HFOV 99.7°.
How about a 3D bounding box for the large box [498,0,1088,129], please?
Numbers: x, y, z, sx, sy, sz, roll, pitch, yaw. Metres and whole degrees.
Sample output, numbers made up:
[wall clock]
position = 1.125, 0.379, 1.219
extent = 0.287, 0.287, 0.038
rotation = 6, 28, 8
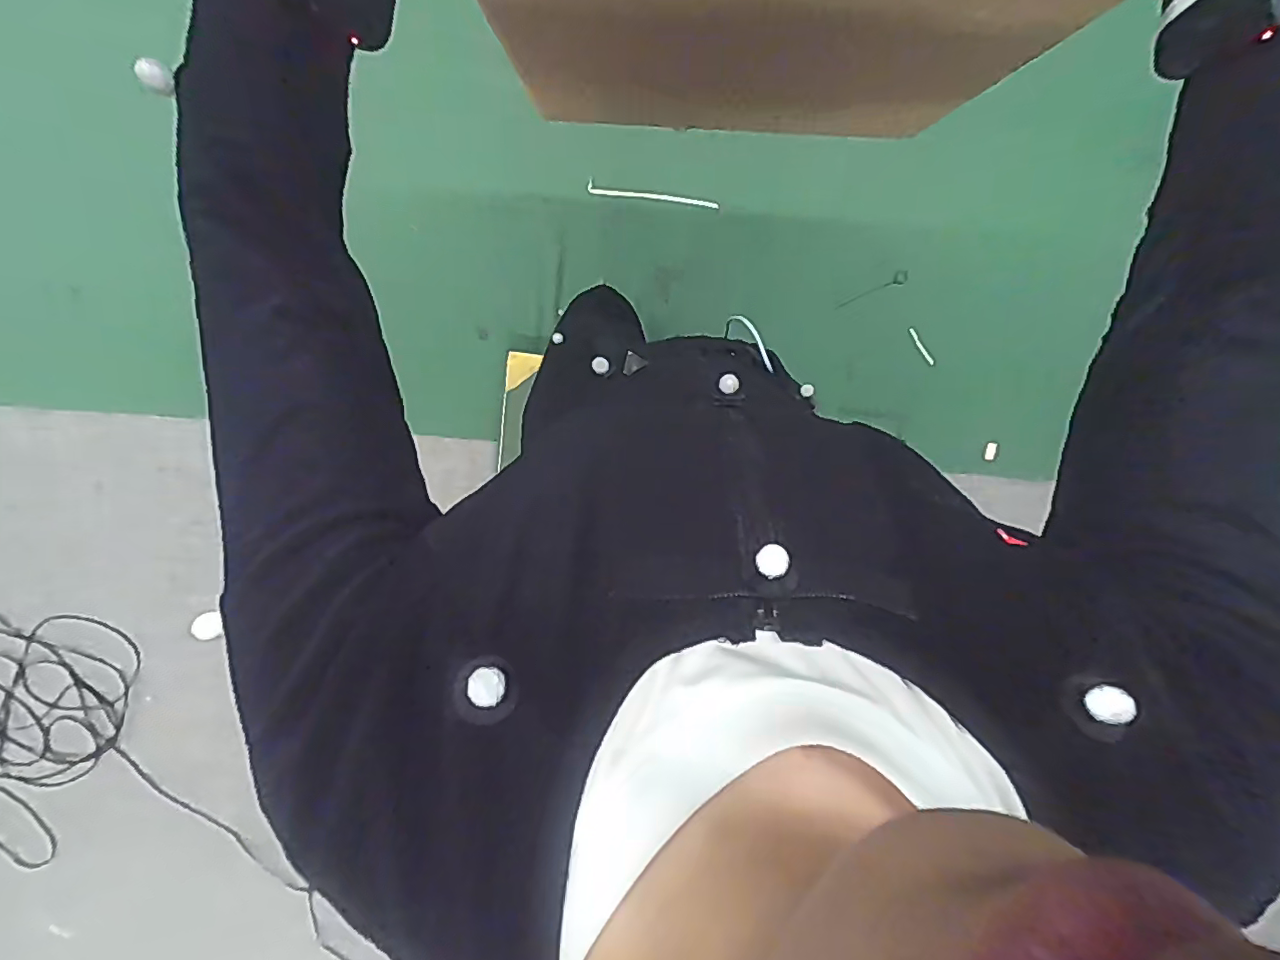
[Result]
[large box]
position = 0.100, -0.486, 0.401
extent = 0.408, 0.320, 0.320
rotation = 2, 108, -1
